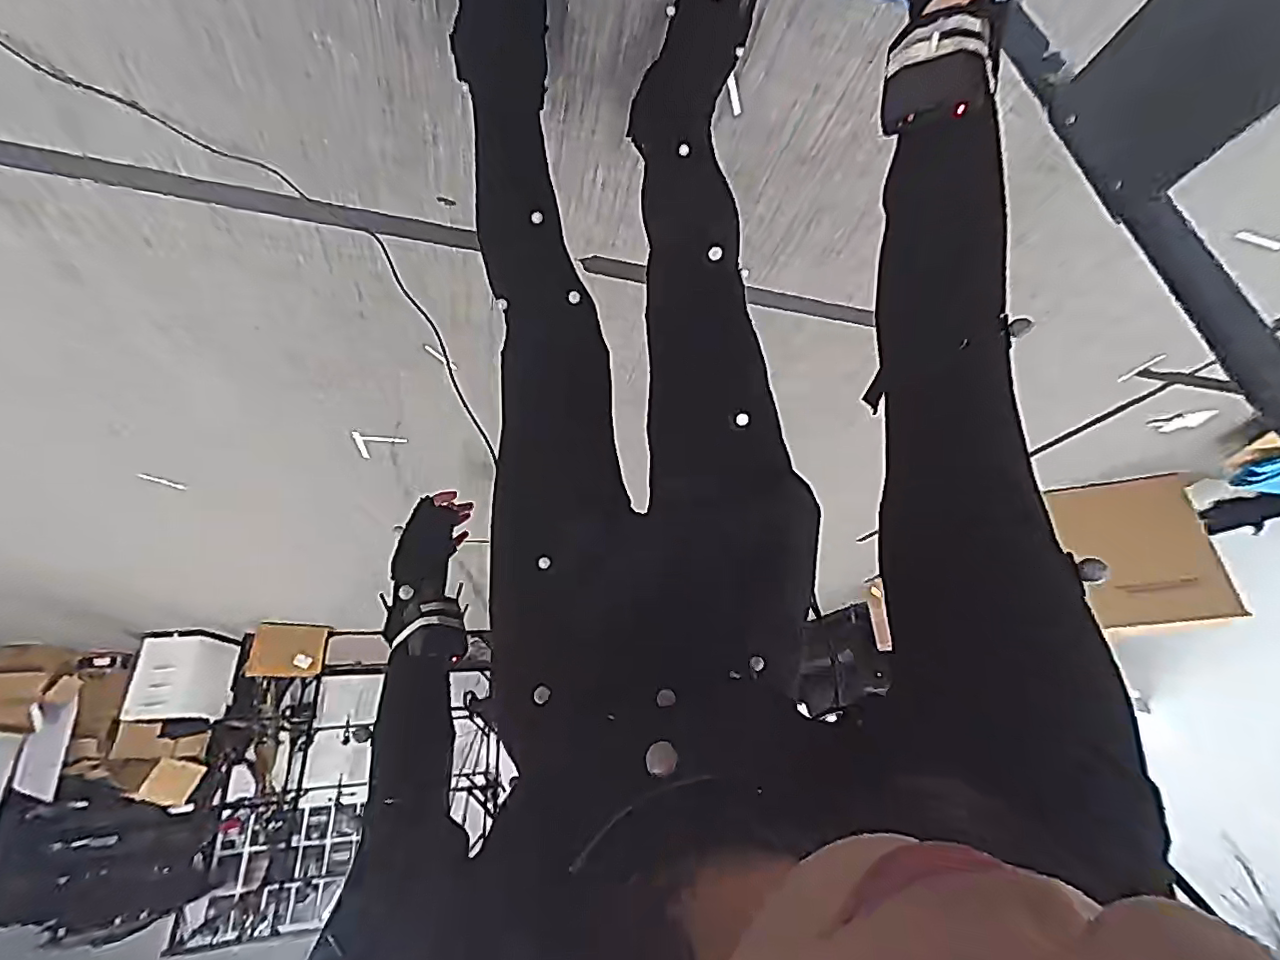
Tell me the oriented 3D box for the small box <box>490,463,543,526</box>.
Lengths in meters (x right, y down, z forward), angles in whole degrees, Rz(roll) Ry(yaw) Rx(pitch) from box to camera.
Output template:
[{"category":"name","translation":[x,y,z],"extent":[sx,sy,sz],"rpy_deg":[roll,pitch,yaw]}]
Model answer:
[{"category":"small box","translation":[-0.451,0.055,1.984],"extent":[0.168,0.176,0.179],"rpy_deg":[6,153,-20]}]
